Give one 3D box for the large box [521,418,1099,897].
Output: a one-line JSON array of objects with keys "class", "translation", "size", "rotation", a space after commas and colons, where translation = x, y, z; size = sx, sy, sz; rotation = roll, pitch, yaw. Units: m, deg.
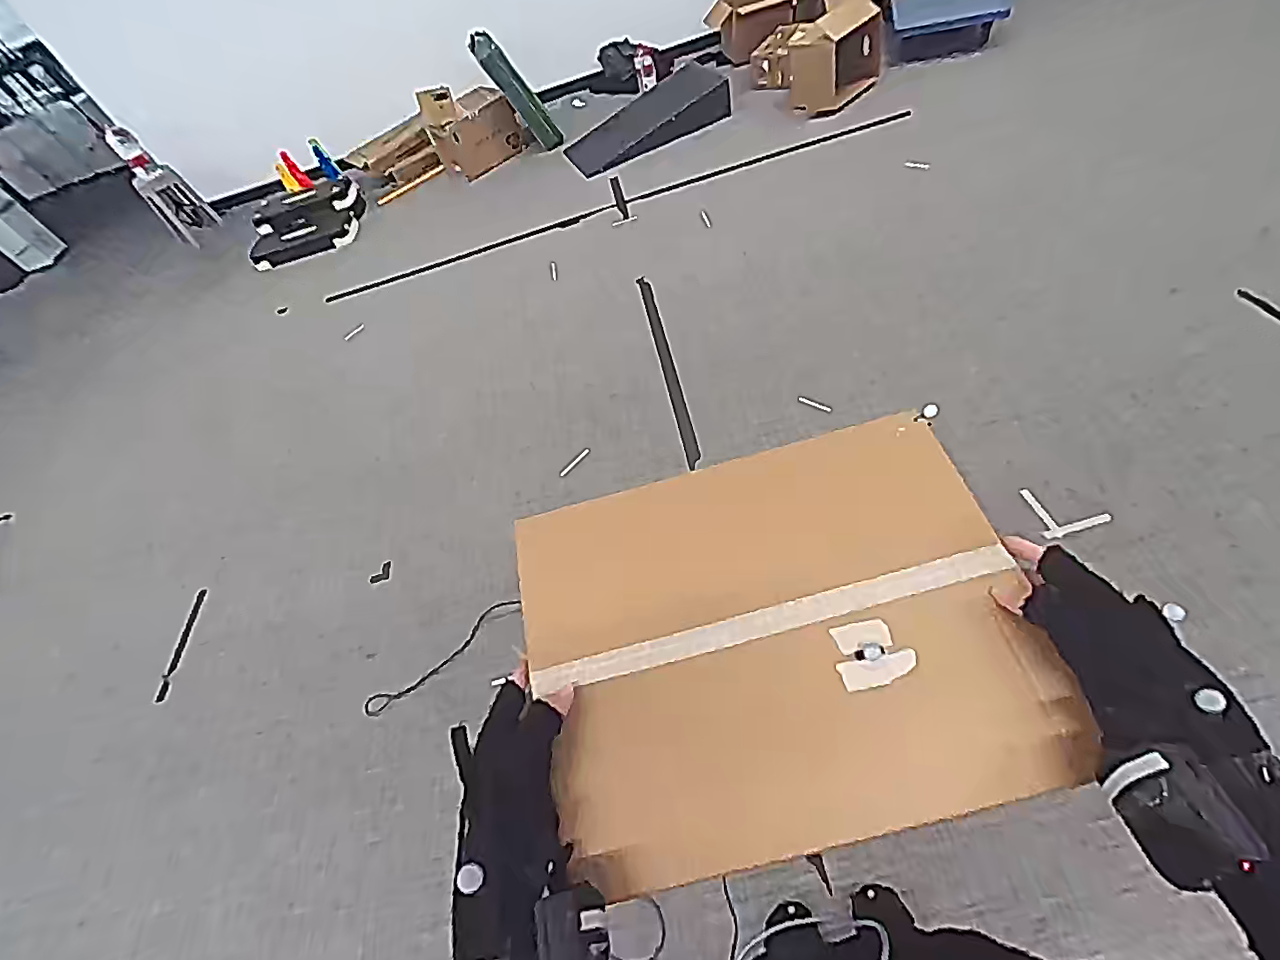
[{"class": "large box", "translation": [0.127, 0.192, 0.589], "size": [0.408, 0.320, 0.320], "rotation": [-16, 60, 1]}]
